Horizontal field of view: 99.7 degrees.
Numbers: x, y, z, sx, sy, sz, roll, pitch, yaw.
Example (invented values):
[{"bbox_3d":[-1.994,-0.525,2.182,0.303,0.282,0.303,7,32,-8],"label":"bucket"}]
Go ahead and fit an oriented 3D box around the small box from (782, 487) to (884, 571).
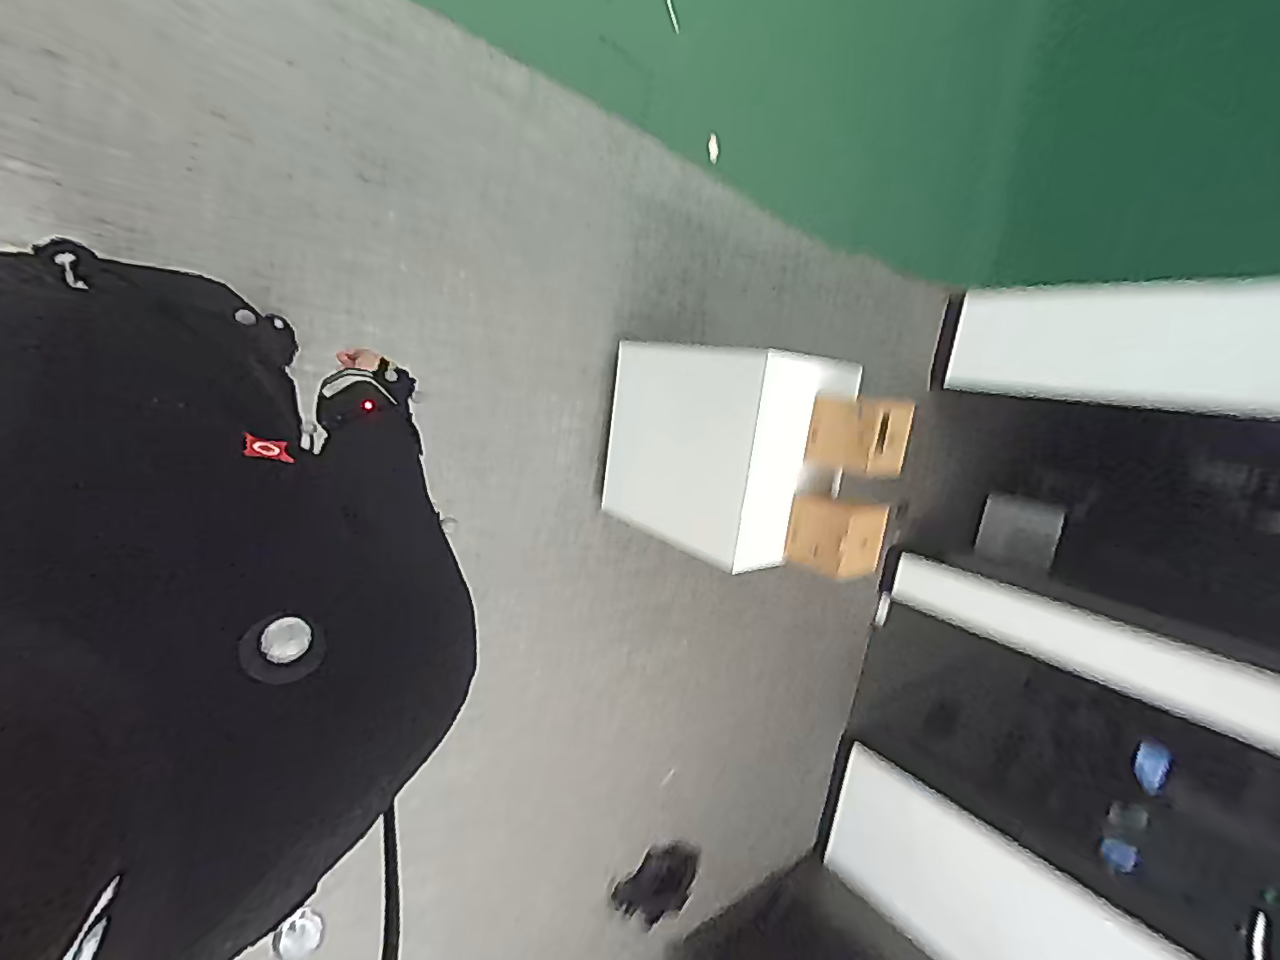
[{"bbox_3d":[0.486,0.118,1.375,0.179,0.176,0.168,-3,106,-40],"label":"small box"}]
